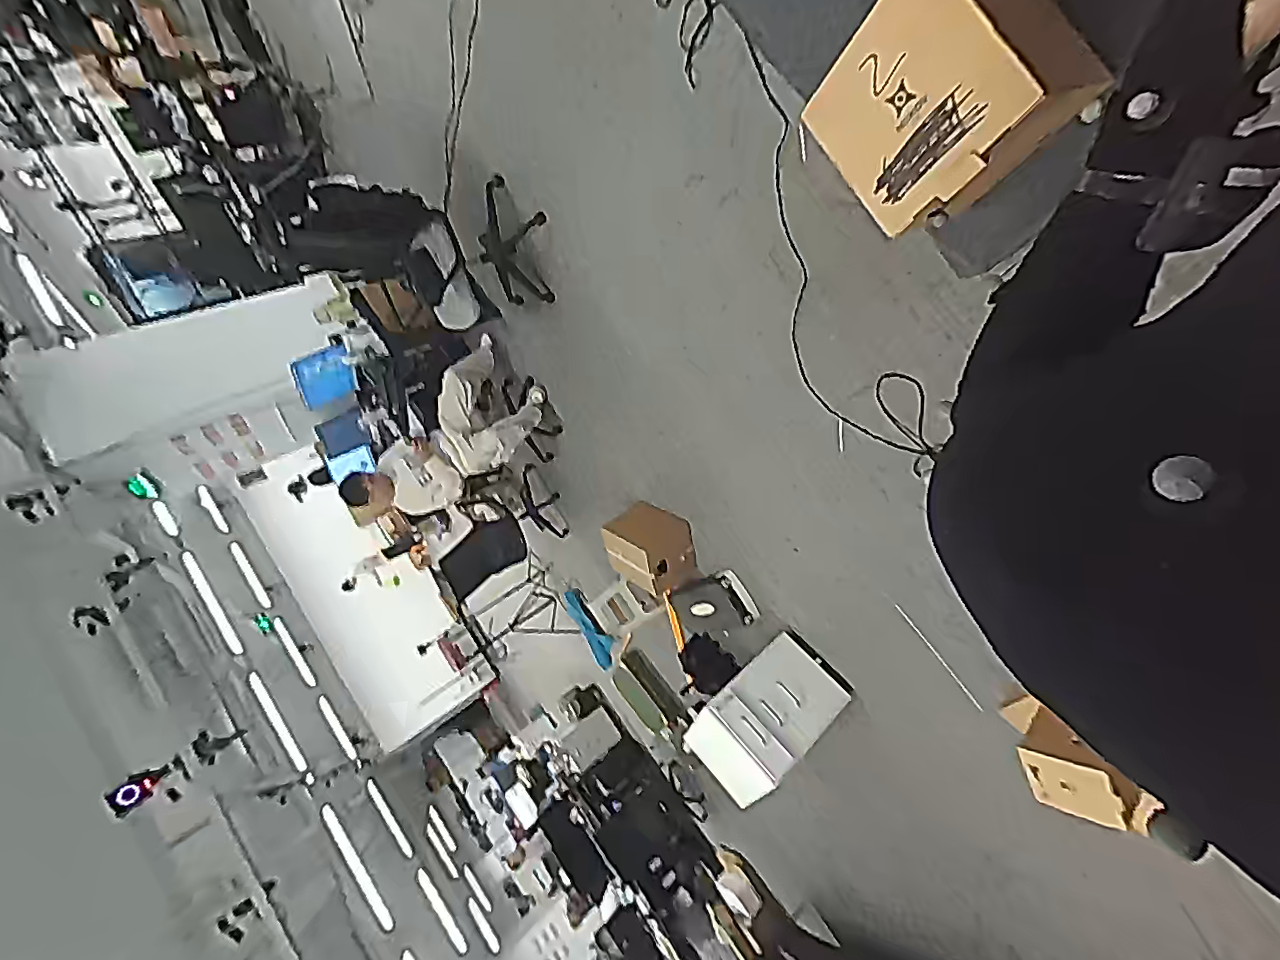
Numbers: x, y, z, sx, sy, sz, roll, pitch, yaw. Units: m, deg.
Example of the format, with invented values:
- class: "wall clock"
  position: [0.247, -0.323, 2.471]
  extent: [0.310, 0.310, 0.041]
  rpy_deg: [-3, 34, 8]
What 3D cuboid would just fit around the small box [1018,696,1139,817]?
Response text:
- class: "small box"
  position: [1.046, 0.643, 1.283]
  extent: [0.179, 0.176, 0.168]
  rpy_deg: [-11, 108, 57]
